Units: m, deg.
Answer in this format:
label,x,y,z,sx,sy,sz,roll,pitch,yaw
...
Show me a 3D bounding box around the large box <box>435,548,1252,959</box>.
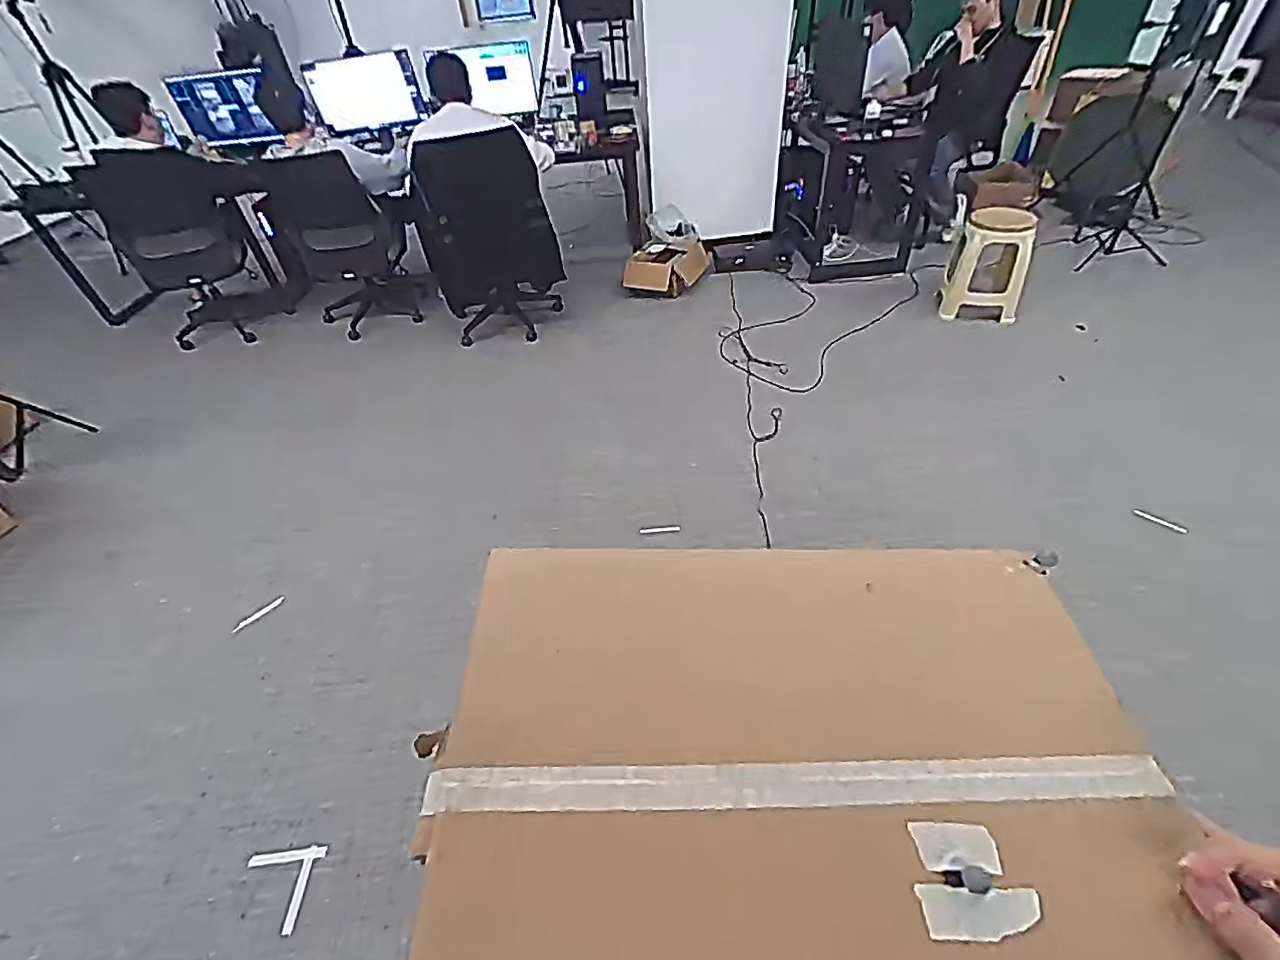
label,x,y,z,sx,sy,sz,roll,pitch,yaw
large box,0.089,0.266,0.424,0.408,0.320,0.320,1,49,-3
